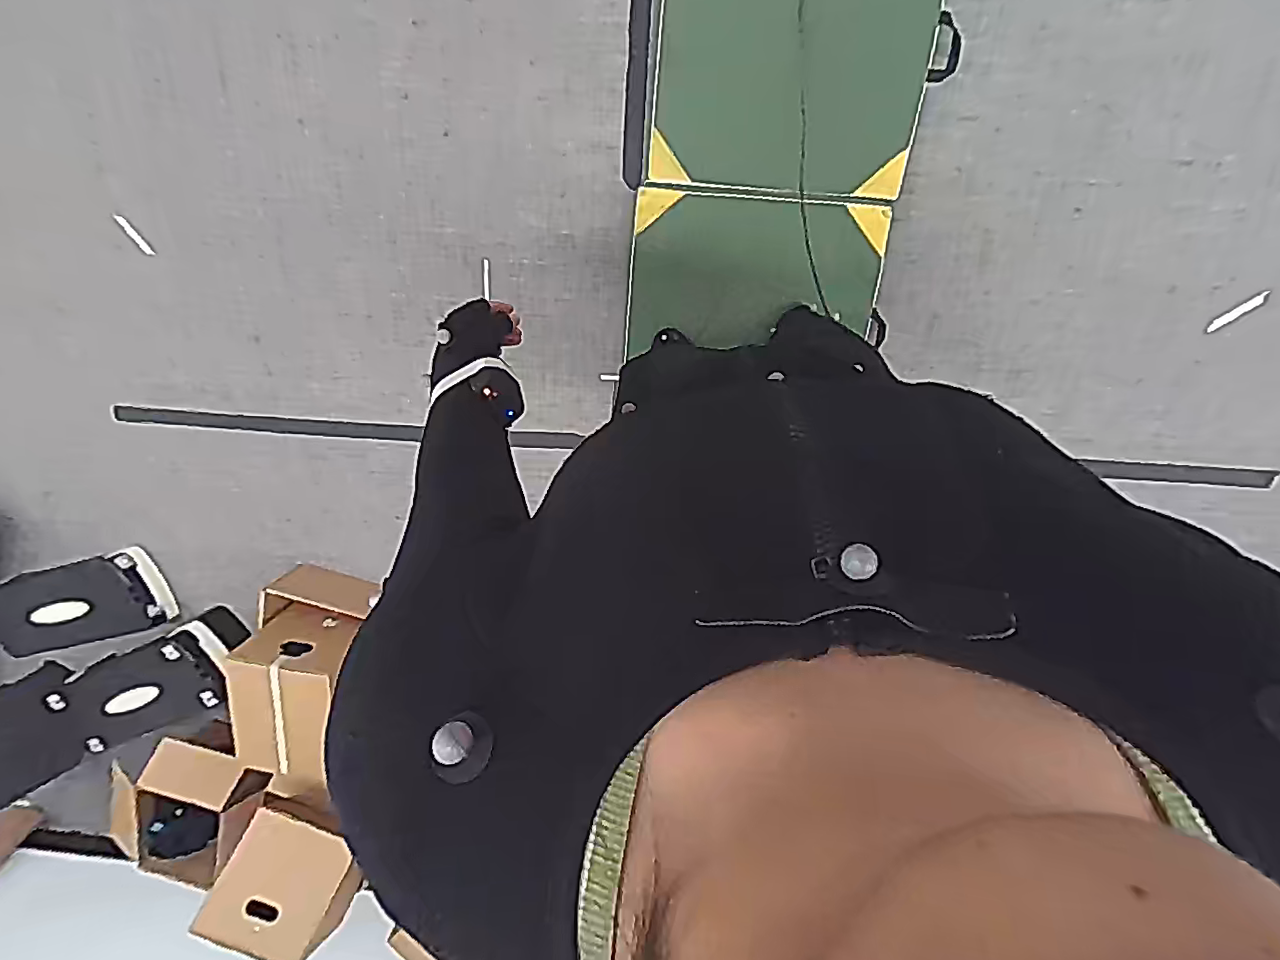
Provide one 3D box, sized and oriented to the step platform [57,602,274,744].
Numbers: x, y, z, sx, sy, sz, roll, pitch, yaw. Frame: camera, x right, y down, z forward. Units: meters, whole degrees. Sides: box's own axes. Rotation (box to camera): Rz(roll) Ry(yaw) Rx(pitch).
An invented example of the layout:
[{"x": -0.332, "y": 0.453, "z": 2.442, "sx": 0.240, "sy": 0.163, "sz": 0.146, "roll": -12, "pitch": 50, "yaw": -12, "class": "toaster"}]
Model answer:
[{"x": -1.682, "y": 0.688, "z": 1.916, "sx": 0.684, "sy": 0.204, "sz": 0.286, "roll": -24, "pitch": 105, "yaw": 12, "class": "step platform"}]
